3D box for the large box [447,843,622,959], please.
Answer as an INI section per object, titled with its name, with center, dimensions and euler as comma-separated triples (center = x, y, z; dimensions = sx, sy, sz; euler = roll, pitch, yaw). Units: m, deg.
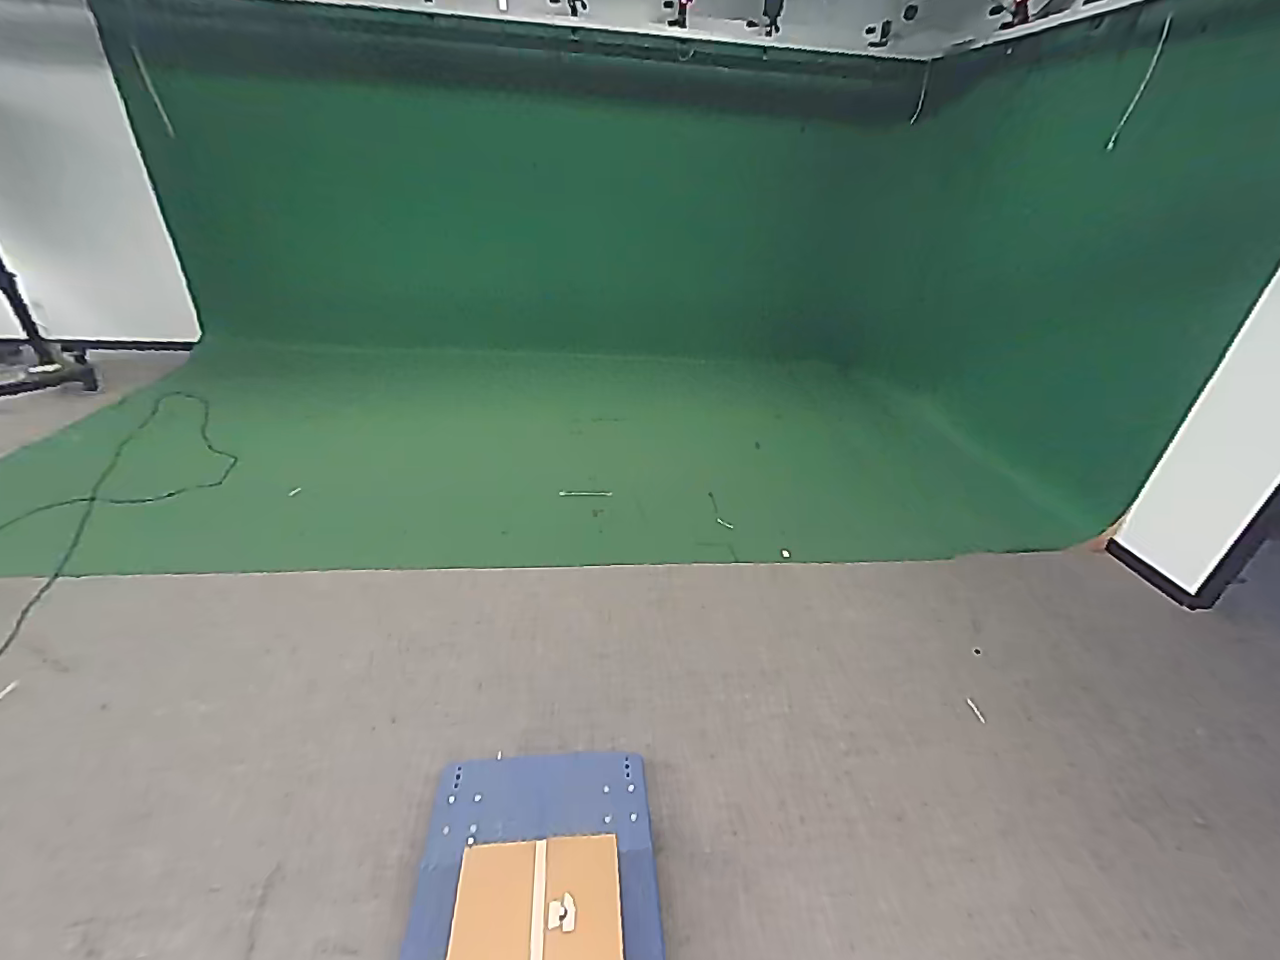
[large box]
center = -0.194, 0.993, 1.019
dimensions = 0.320, 0.320, 0.408
euler = 1, 29, -8
